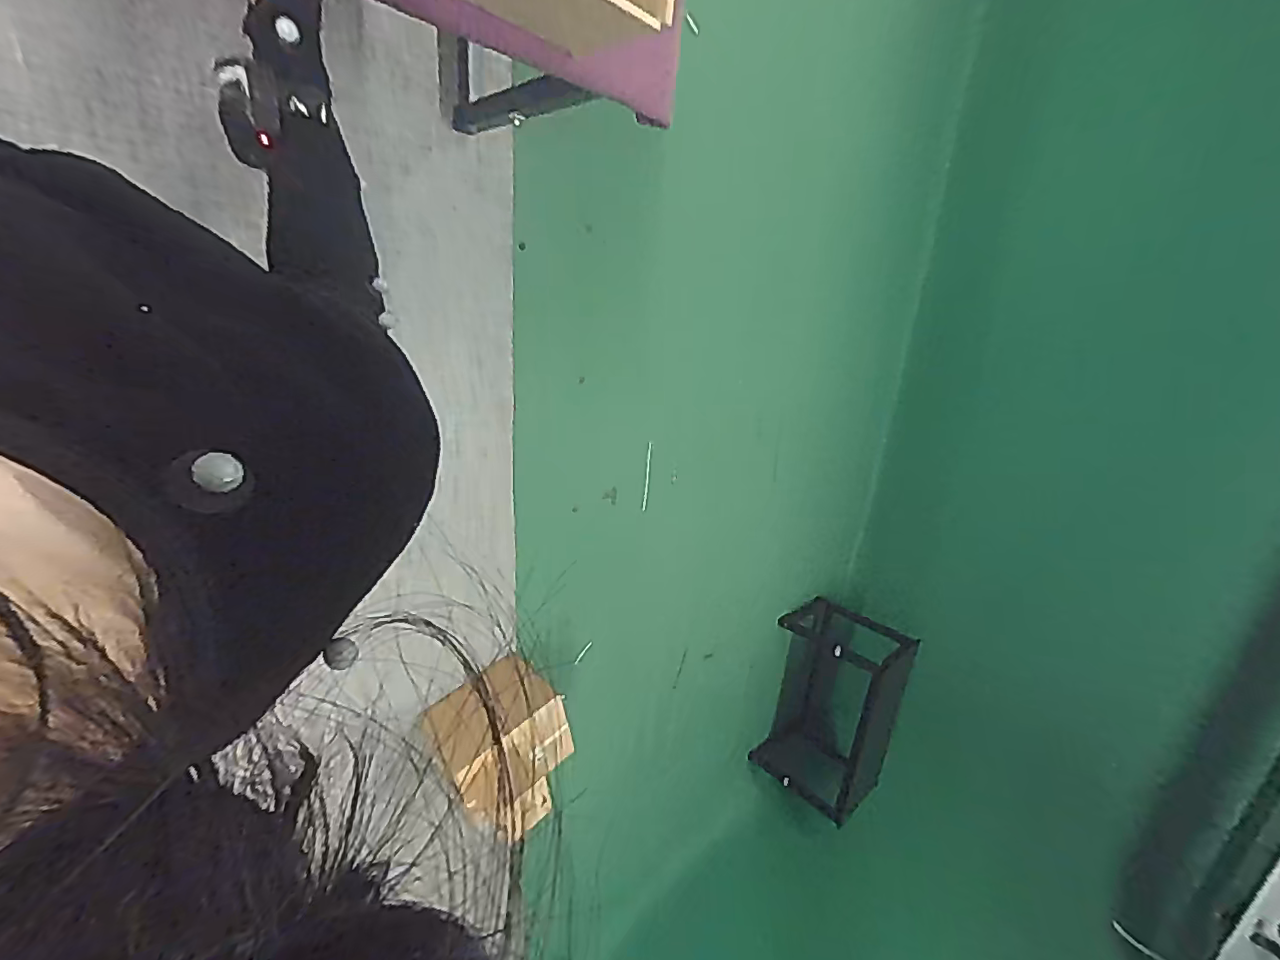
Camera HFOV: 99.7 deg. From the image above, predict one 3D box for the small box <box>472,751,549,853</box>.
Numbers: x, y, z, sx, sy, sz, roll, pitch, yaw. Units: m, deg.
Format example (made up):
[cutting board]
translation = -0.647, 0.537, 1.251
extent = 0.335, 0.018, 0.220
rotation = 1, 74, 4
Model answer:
[small box]
translation = -0.413, 1.006, 1.702
extent = 0.179, 0.176, 0.168
rotation = -24, 122, -38

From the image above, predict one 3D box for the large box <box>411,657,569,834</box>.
[large box]
translation = -0.522, 0.921, 1.923
extent = 0.408, 0.320, 0.320
rotation = -30, 127, -36
